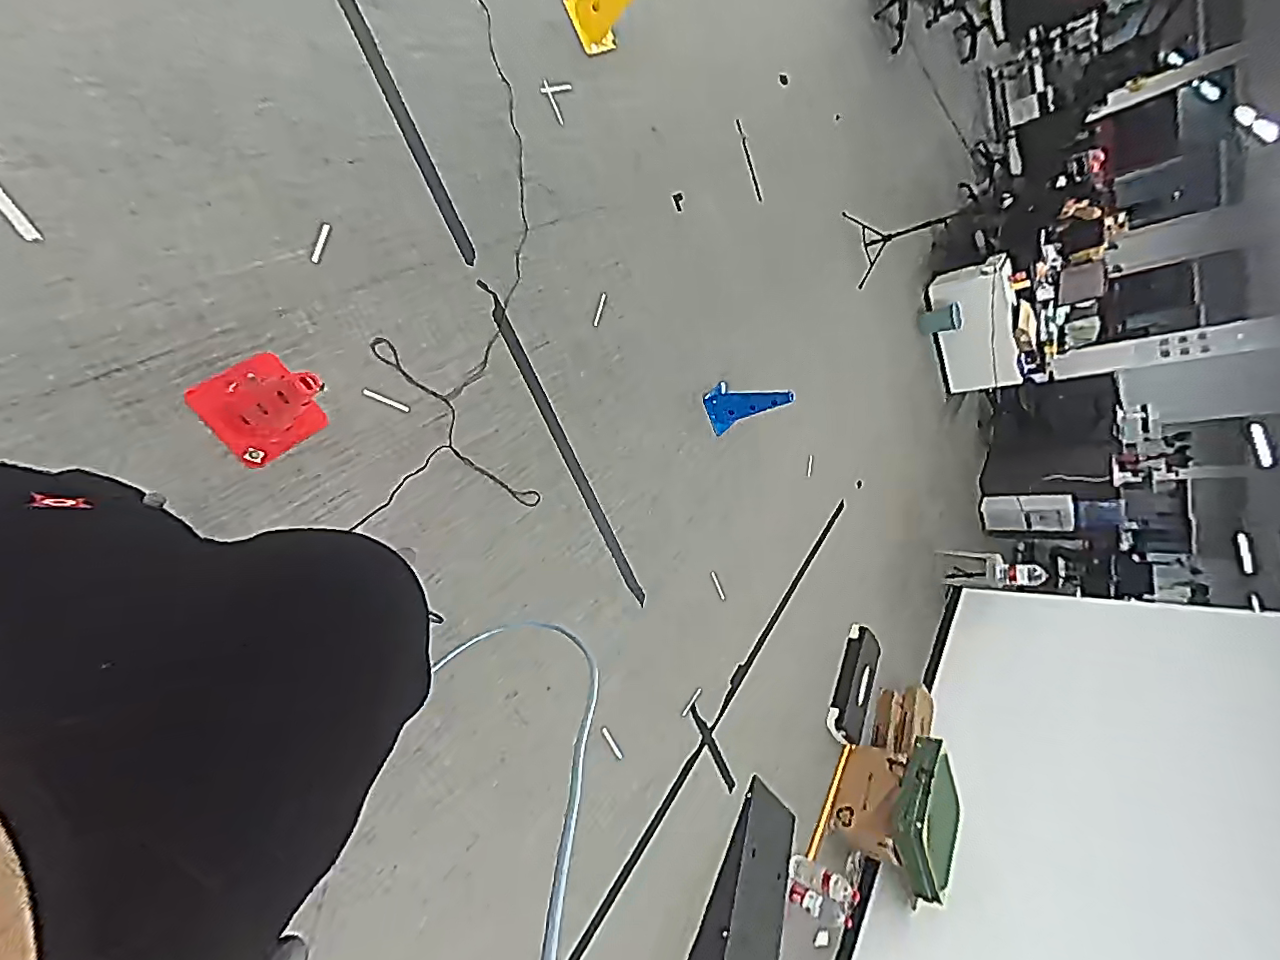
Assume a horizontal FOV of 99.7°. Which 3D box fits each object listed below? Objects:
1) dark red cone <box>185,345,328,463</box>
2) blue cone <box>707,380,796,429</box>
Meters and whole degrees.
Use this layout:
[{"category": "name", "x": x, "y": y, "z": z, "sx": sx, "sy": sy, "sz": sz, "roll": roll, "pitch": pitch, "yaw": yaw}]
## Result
[{"category": "dark red cone", "x": -0.693, "y": -0.173, "z": 1.047, "sx": 0.201, "sy": 0.394, "sz": 0.202, "roll": -52, "pitch": 122, "yaw": -37}, {"category": "blue cone", "x": 0.490, "y": -0.350, "z": 2.338, "sx": 0.192, "sy": 0.380, "sz": 0.193, "roll": -42, "pitch": 117, "yaw": -41}]
